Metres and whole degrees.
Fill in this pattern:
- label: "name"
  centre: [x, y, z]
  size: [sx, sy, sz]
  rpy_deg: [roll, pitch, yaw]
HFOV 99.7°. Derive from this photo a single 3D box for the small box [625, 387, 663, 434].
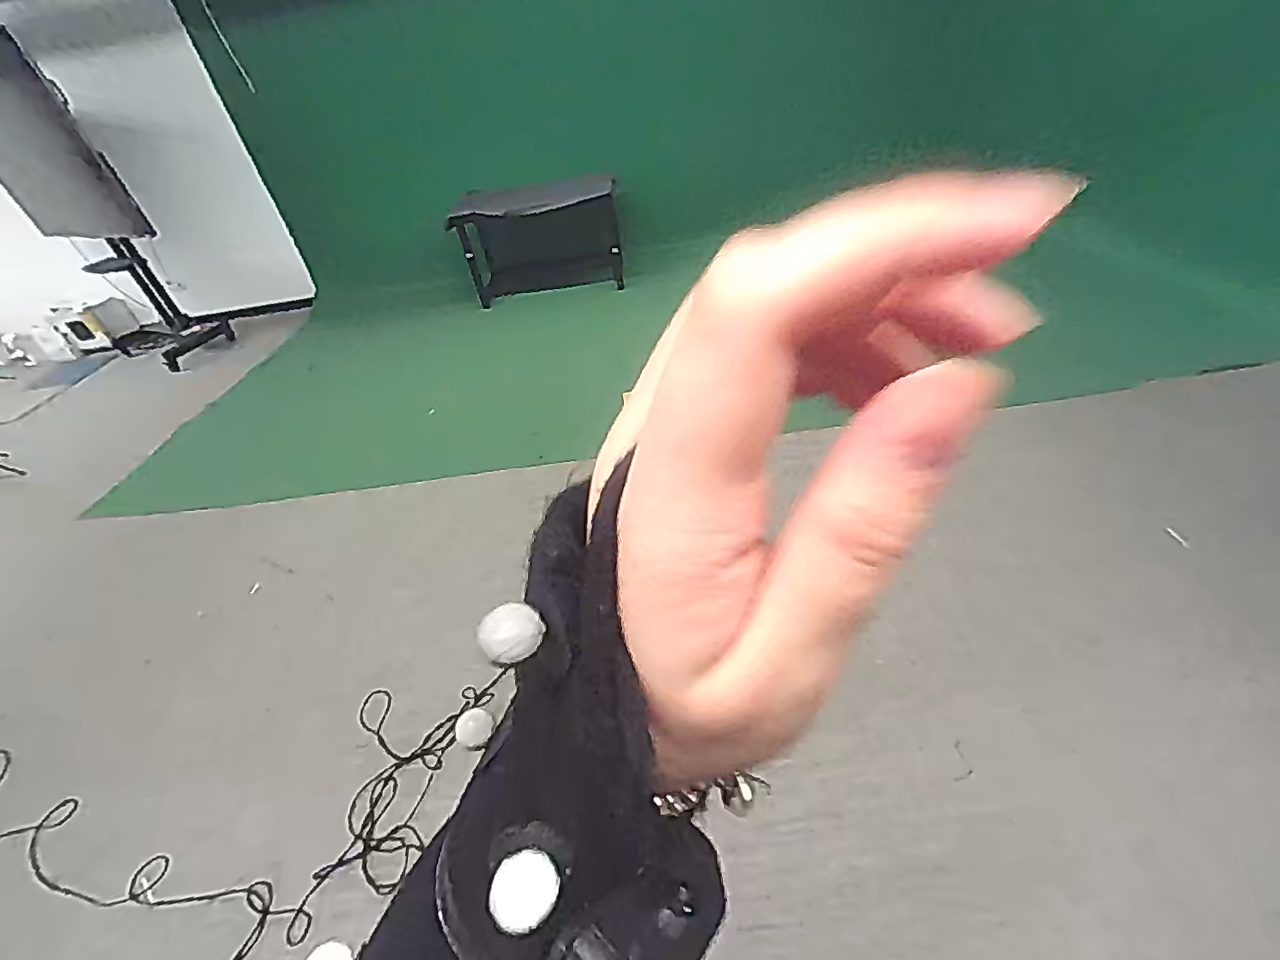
- label: "small box"
  centre: [0.020, -0.344, 2.741]
  size: [0.168, 0.176, 0.179]
  rpy_deg: [-9, 38, 2]
